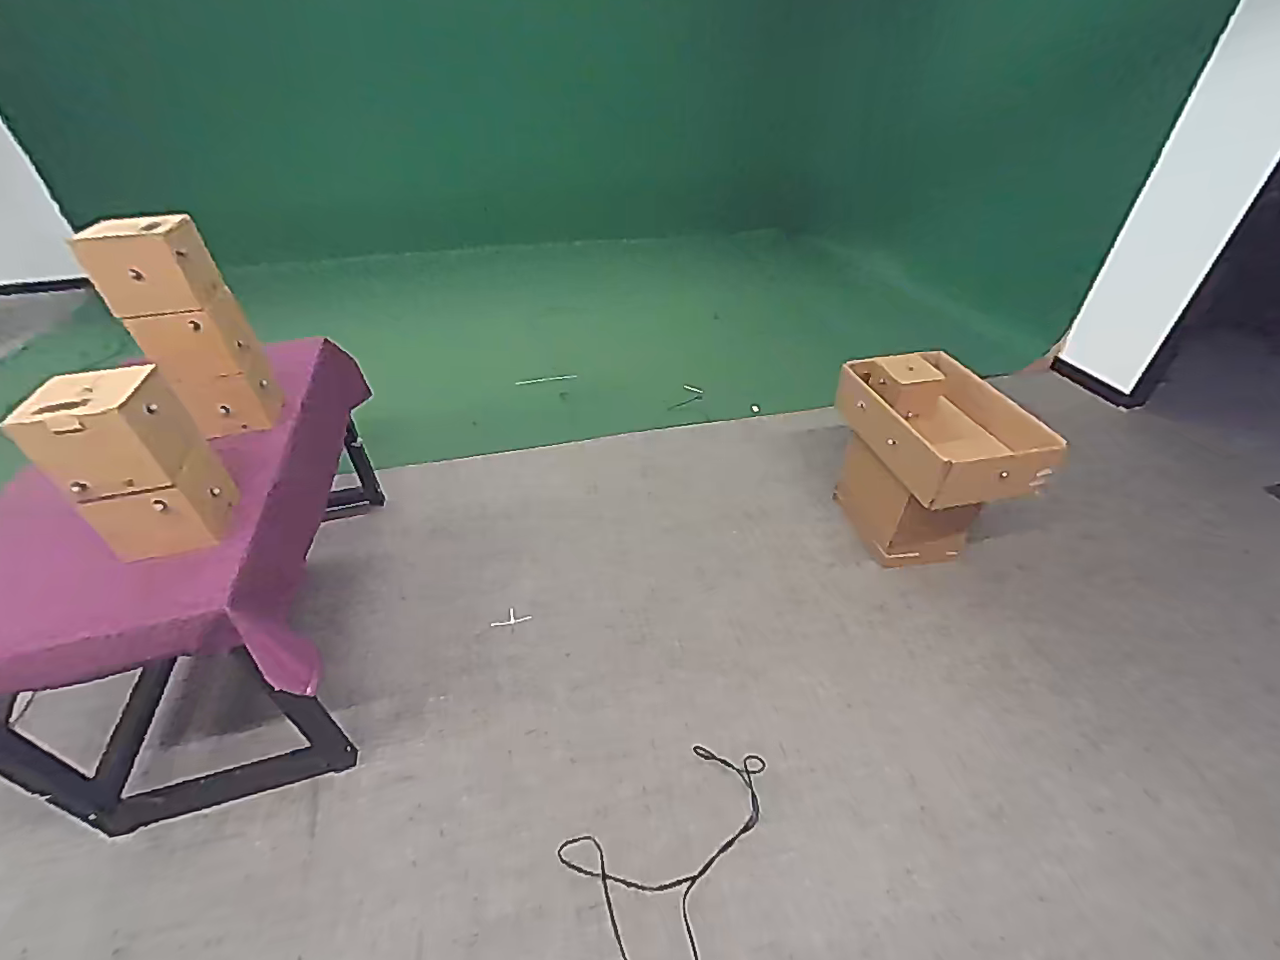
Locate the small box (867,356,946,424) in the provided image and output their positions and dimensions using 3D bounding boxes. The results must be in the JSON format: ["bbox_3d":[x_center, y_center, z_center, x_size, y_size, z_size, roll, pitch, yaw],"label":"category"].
[{"bbox_3d":[0.925,-0.315,1.898,0.168,0.176,0.179,-8,39,-7],"label":"small box"}]

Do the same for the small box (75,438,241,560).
[{"bbox_3d":[-0.969,0.040,1.113,0.179,0.176,0.168,-11,40,-11],"label":"small box"}]

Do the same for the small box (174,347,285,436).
[{"bbox_3d":[-1.084,-0.232,1.449,0.168,0.176,0.179,-12,41,-13],"label":"small box"}]

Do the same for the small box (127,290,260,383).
[{"bbox_3d":[-1.093,-0.355,1.342,0.179,0.176,0.168,-10,40,-12],"label":"small box"}]

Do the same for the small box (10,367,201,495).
[{"bbox_3d":[-0.971,-0.088,1.008,0.168,0.176,0.179,-11,39,-12],"label":"small box"}]
